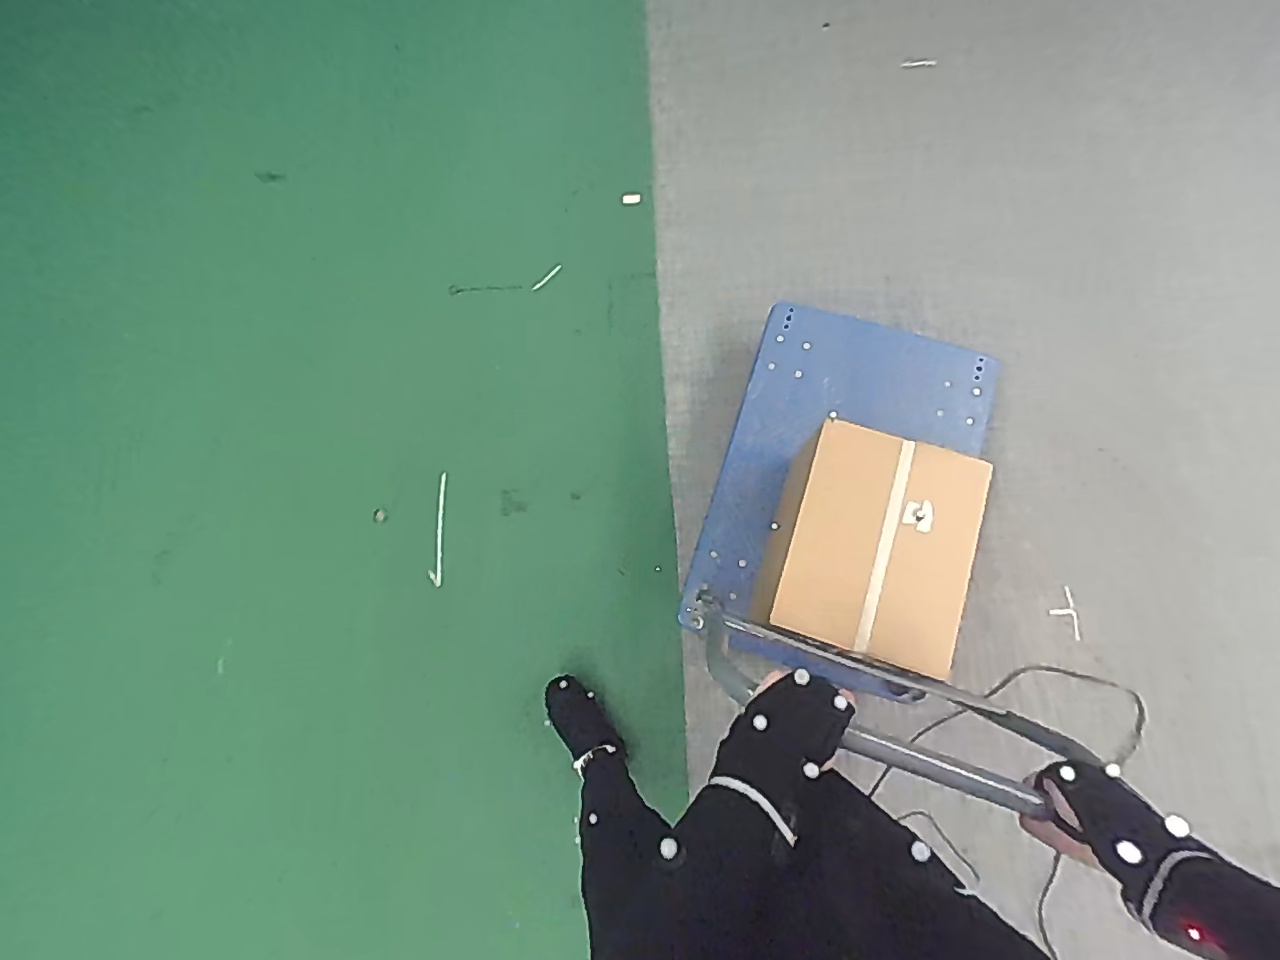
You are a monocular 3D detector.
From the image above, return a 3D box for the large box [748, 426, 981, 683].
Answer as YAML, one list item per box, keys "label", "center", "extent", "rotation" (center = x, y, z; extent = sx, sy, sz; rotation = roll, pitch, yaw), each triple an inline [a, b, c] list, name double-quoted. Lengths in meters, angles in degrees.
- label: "large box"
  center: [0.438, 0.156, 1.124]
  extent: [0.320, 0.320, 0.408]
  rotation: [18, 79, 6]
